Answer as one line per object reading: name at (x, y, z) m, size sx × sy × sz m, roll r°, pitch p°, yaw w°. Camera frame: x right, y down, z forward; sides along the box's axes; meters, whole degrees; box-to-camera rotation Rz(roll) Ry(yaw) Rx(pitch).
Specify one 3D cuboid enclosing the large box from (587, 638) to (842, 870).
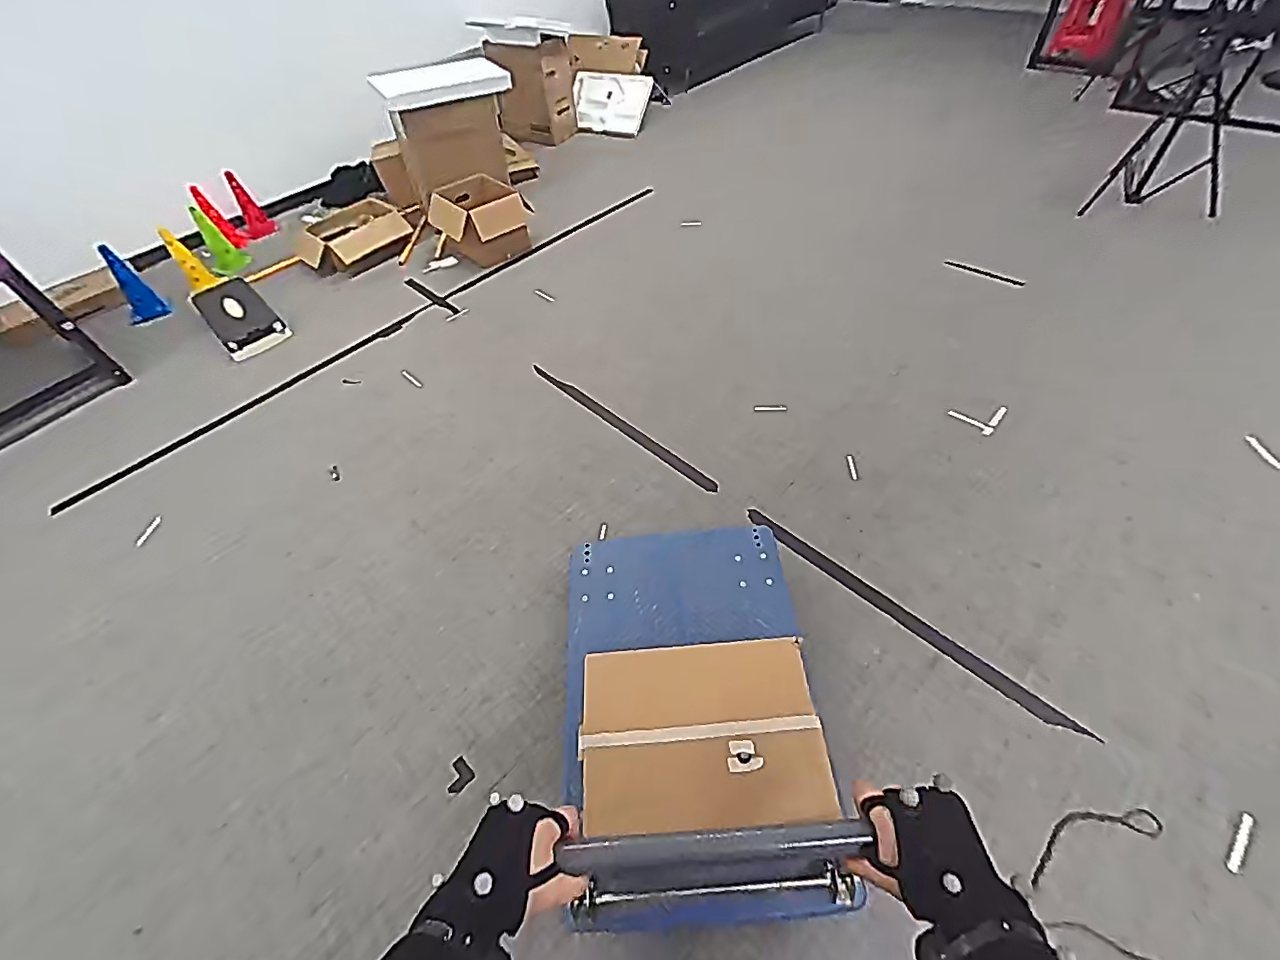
large box at (0.115, 0.532, 1.044) m, size 0.408 × 0.320 × 0.320 m, roll -5°, pitch 50°, yaw 0°
